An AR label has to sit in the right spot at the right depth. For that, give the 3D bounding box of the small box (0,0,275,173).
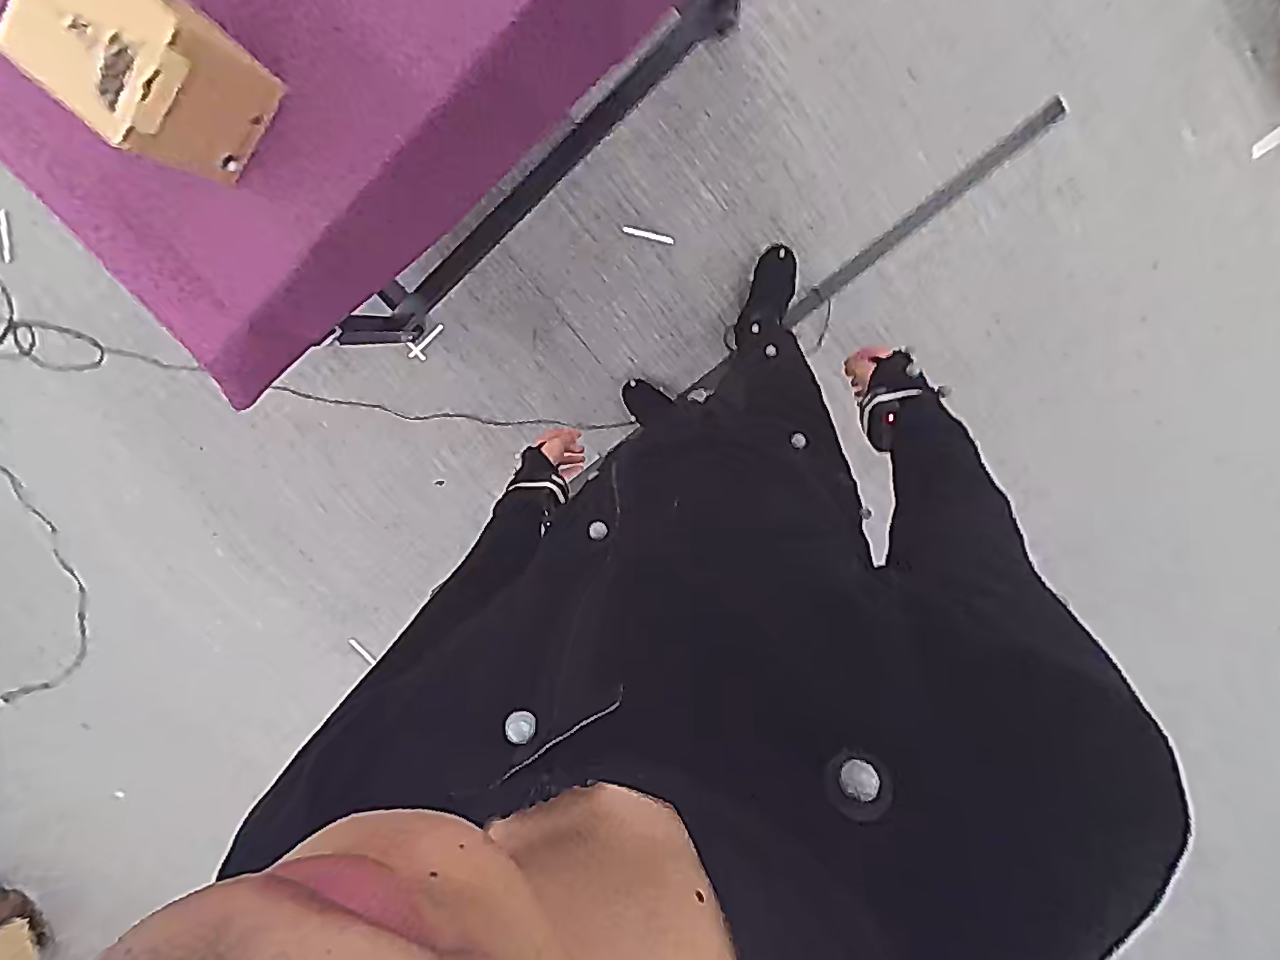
[{"bbox_3d":[-0.617,-0.521,0.681,0.179,0.176,0.168,40,104,-6],"label":"small box"}]
